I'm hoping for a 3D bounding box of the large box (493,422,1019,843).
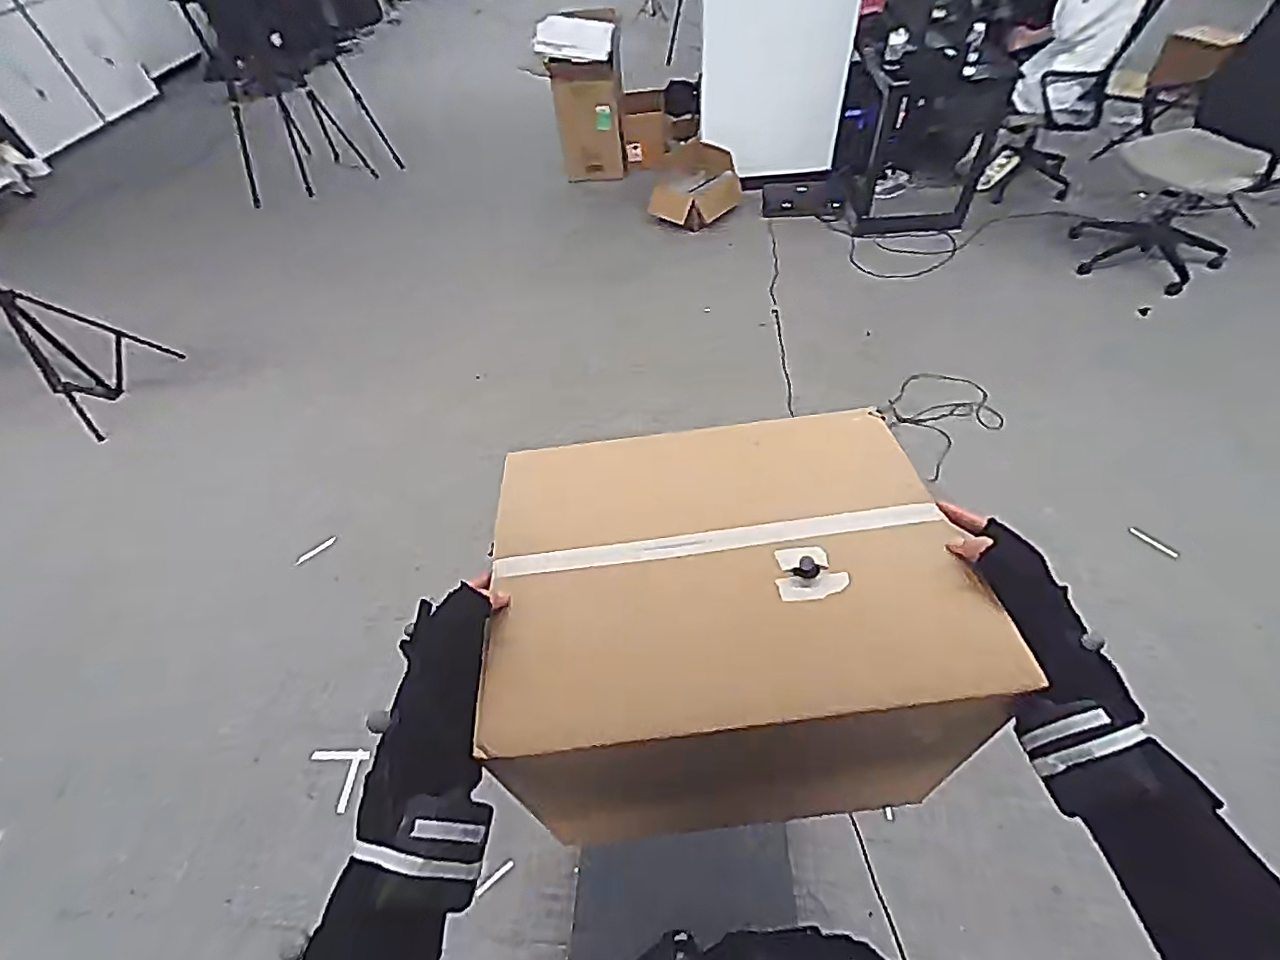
[{"bbox_3d":[0.084,0.171,0.605,0.408,0.320,0.320,-7,46,0],"label":"large box"}]
